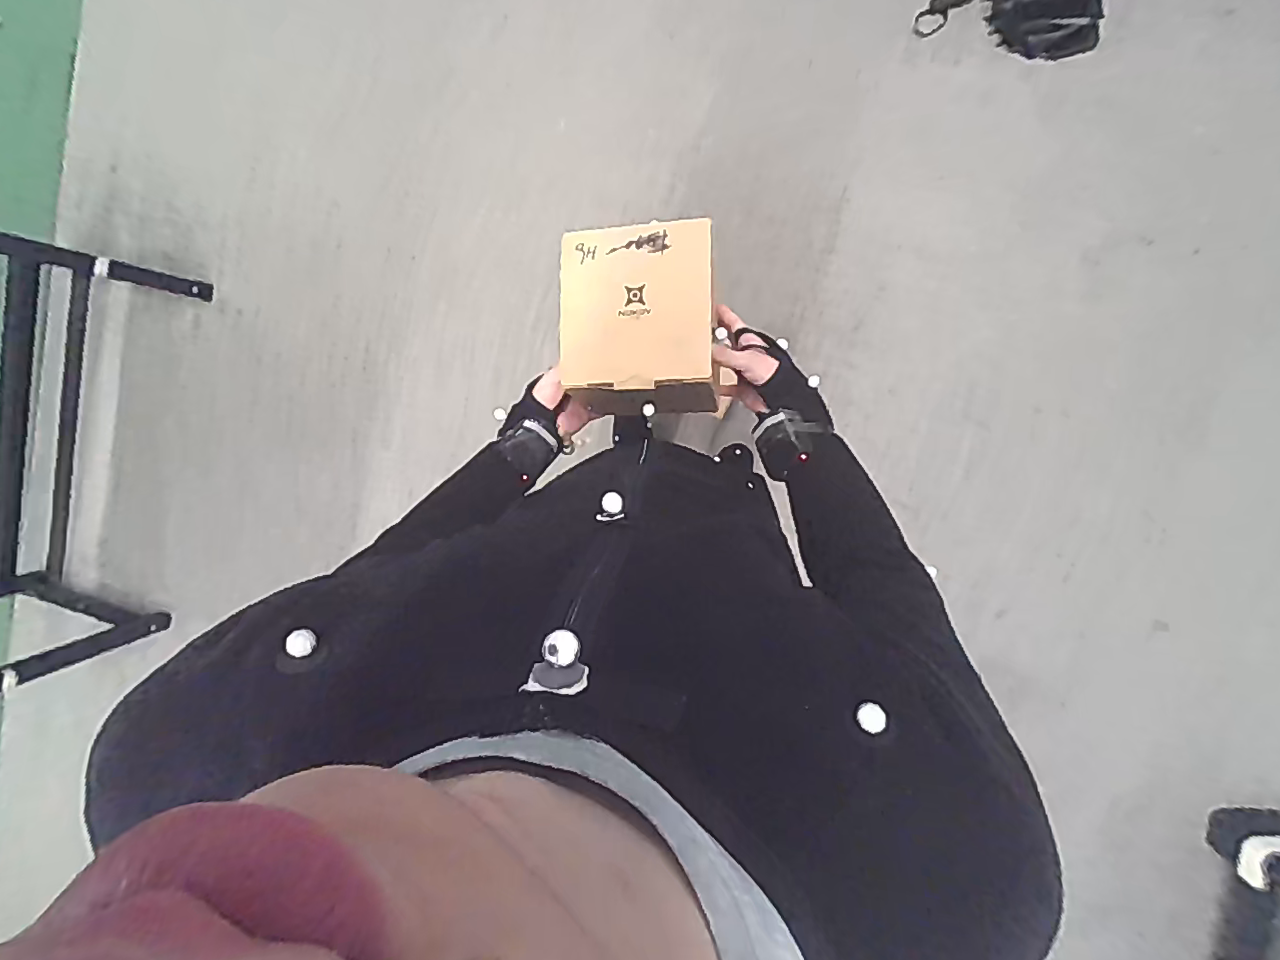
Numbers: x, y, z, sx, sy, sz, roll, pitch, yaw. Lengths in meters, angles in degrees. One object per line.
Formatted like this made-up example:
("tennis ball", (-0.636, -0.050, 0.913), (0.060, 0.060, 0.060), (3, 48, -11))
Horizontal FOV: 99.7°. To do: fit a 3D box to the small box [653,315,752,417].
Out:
("small box", (0.148, -0.263, 1.284), (0.168, 0.176, 0.179), (29, 100, 5))
